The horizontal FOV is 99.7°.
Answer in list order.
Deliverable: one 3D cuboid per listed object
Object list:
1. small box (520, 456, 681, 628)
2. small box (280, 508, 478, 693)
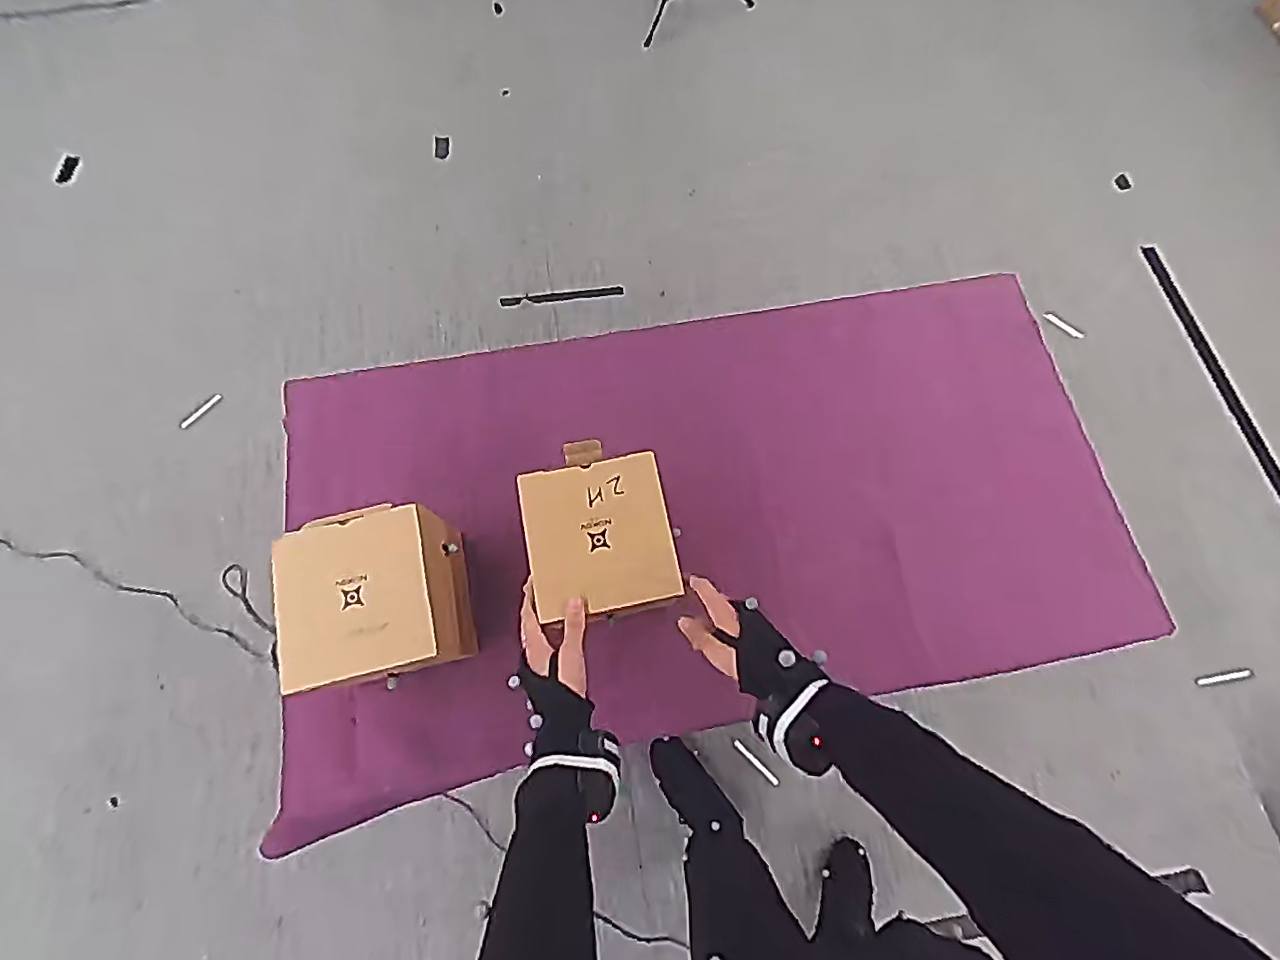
[{"bbox_3d":[-0.048,0.089,0.699,0.168,0.176,0.179,-11,73,-5],"label":"small box"},{"bbox_3d":[-0.314,0.154,0.675,0.168,0.176,0.179,-13,73,-5],"label":"small box"}]
